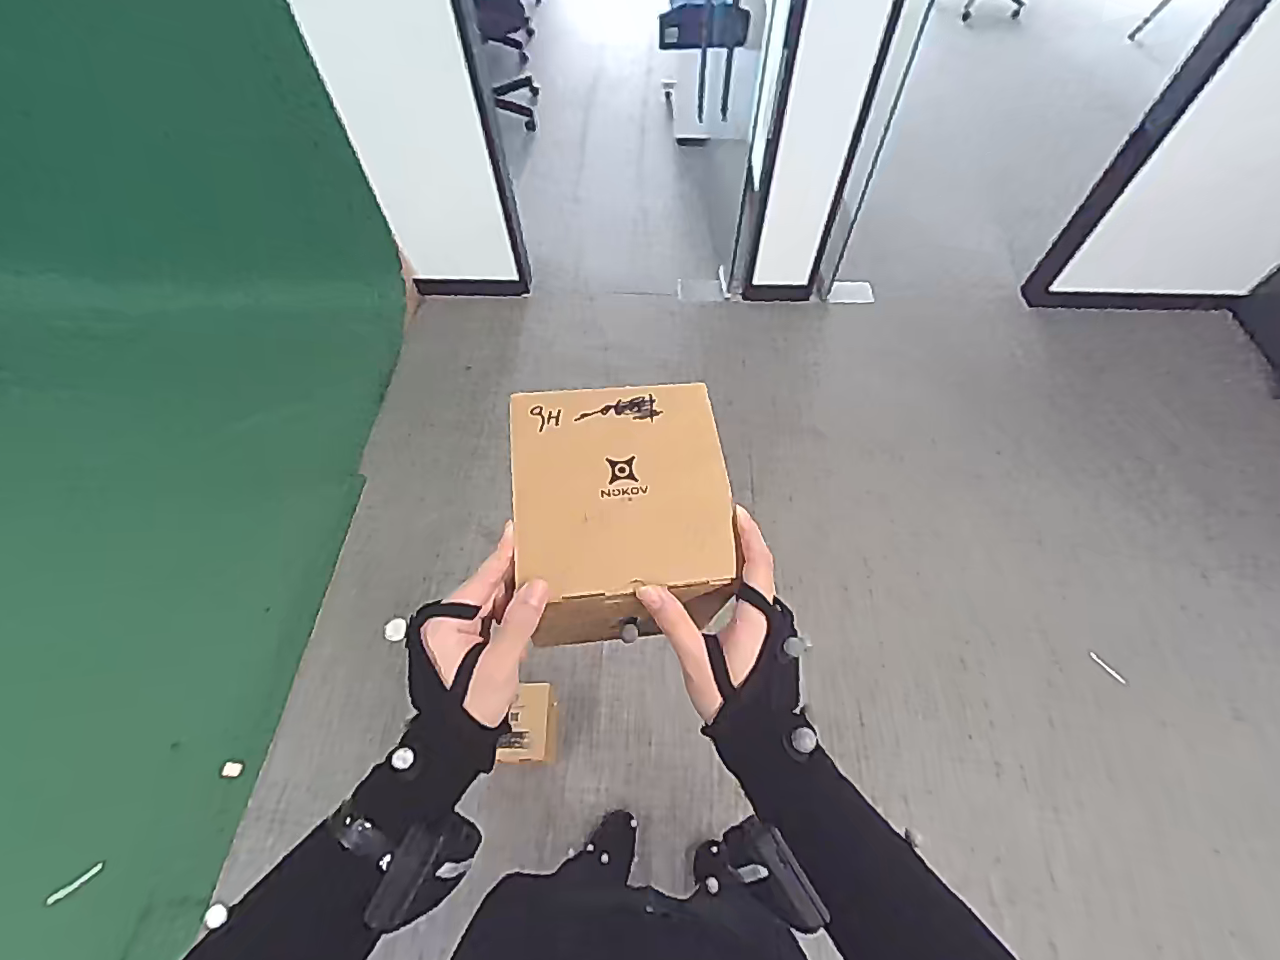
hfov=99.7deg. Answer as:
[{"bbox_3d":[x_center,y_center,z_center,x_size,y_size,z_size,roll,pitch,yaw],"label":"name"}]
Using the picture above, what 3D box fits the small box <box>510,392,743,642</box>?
[{"bbox_3d":[-0.022,0.043,0.486,0.168,0.176,0.179,-5,65,-9],"label":"small box"}]
